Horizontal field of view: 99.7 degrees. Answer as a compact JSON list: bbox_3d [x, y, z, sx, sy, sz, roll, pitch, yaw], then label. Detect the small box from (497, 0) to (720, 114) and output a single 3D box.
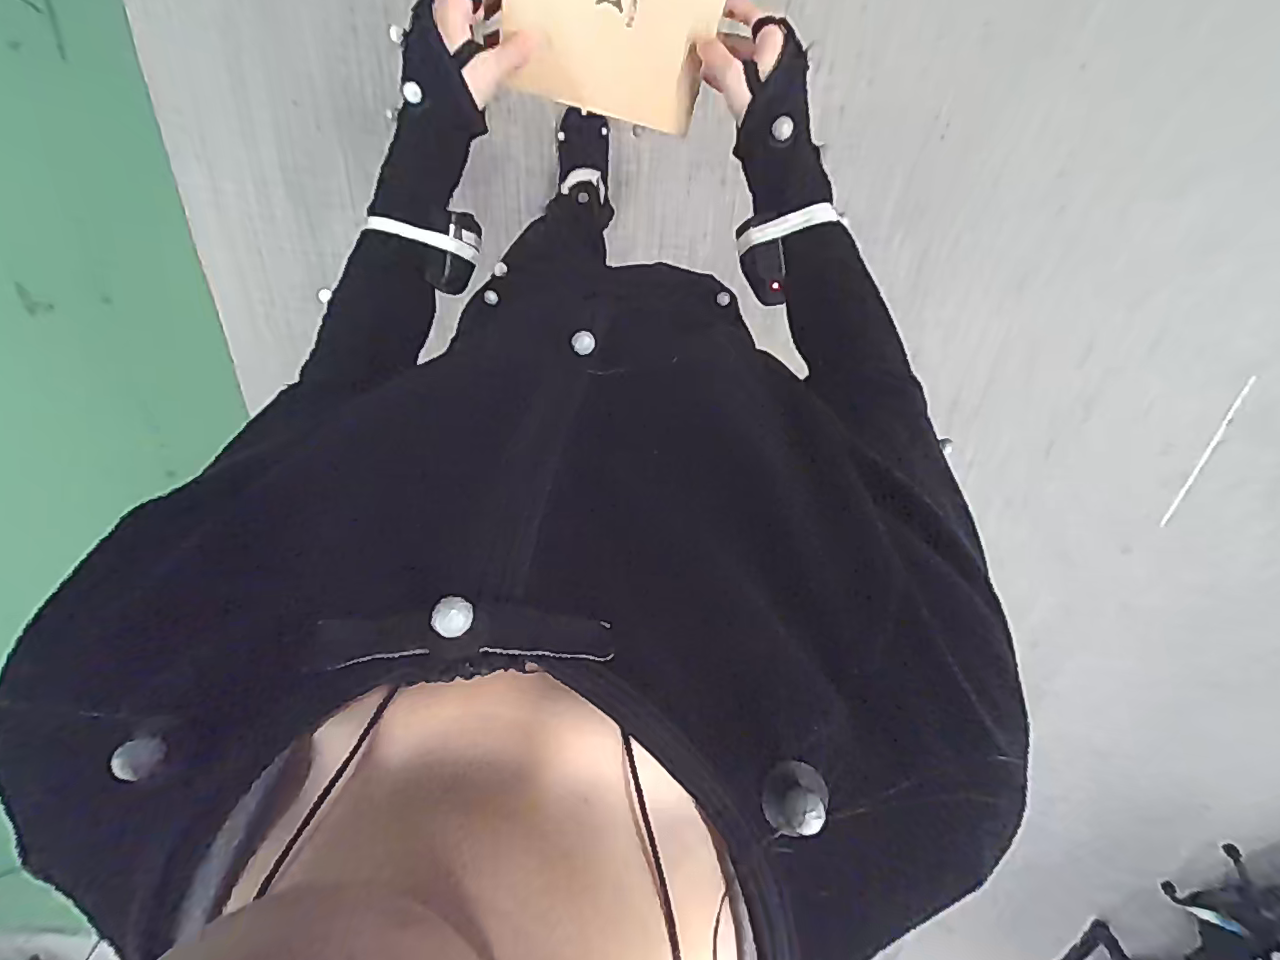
[{"bbox_3d":[-0.029,-0.460,0.481,0.179,0.176,0.168,4,135,-18],"label":"small box"}]
